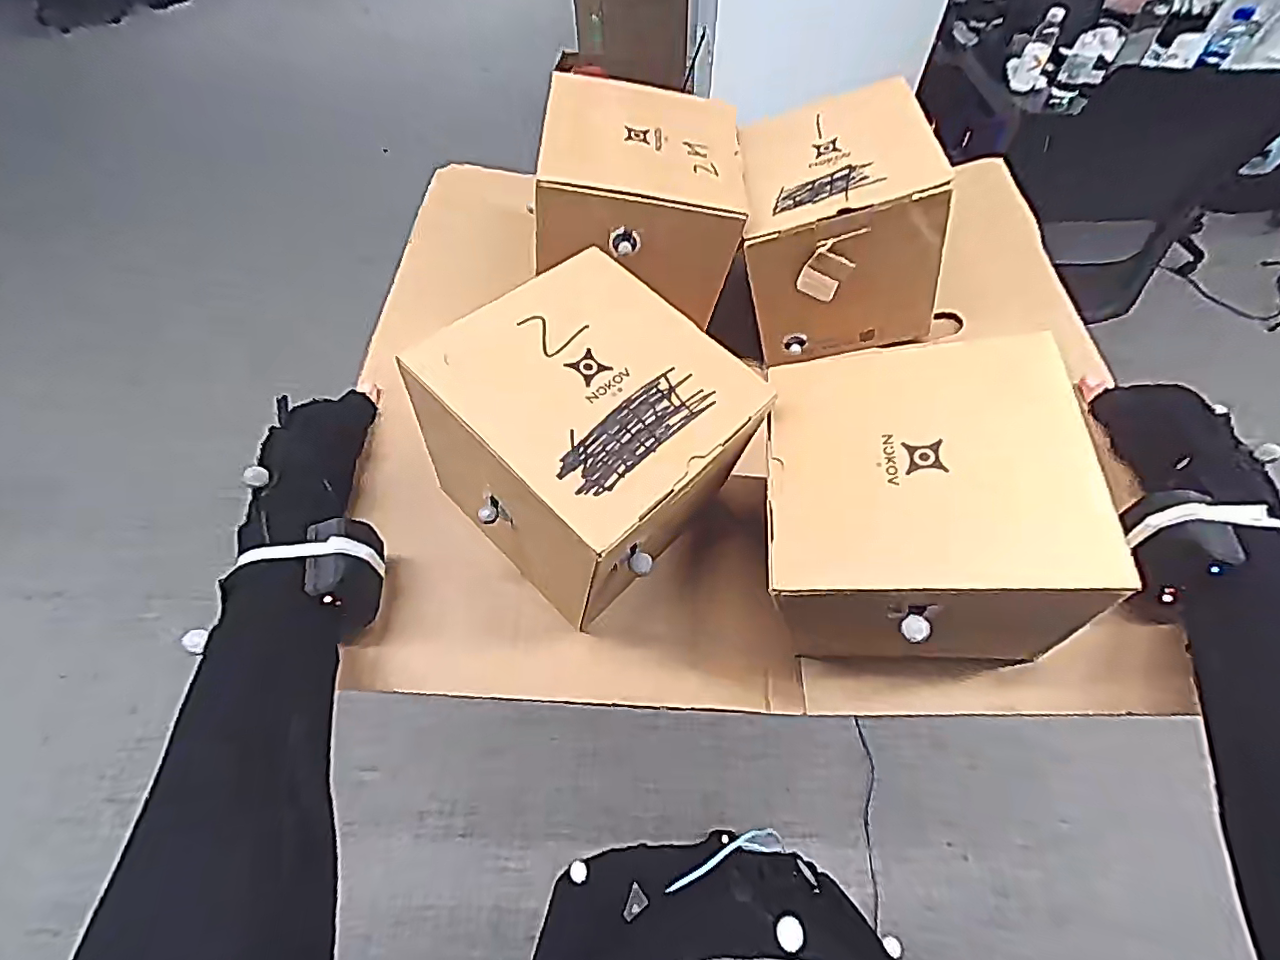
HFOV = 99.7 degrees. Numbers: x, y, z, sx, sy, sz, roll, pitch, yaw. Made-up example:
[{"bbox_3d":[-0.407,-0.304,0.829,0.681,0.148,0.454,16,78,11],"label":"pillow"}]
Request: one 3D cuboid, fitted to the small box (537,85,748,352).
[{"bbox_3d":[-0.006,-0.249,0.542,0.179,0.176,0.168,6,61,-8],"label":"small box"}]
